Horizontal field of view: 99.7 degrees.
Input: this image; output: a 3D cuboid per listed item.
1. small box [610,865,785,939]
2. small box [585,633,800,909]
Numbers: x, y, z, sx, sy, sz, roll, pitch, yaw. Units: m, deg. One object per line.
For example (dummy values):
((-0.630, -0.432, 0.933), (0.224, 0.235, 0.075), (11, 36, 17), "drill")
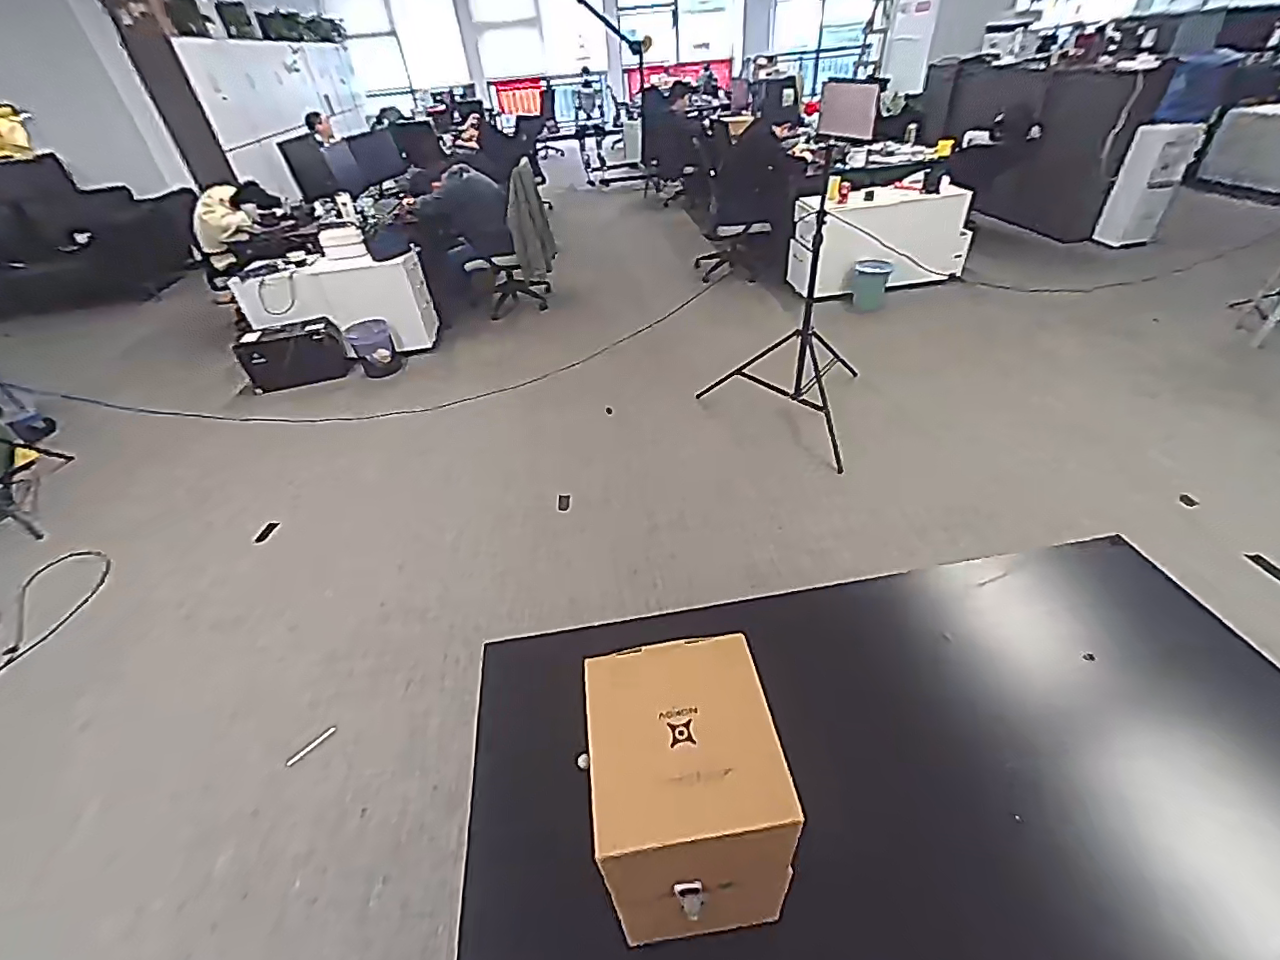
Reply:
((0.056, 0.408, 0.638), (0.179, 0.176, 0.168), (-7, 39, -3), "small box")
((0.041, 0.284, 0.535), (0.168, 0.176, 0.179), (-10, 40, -3), "small box")
